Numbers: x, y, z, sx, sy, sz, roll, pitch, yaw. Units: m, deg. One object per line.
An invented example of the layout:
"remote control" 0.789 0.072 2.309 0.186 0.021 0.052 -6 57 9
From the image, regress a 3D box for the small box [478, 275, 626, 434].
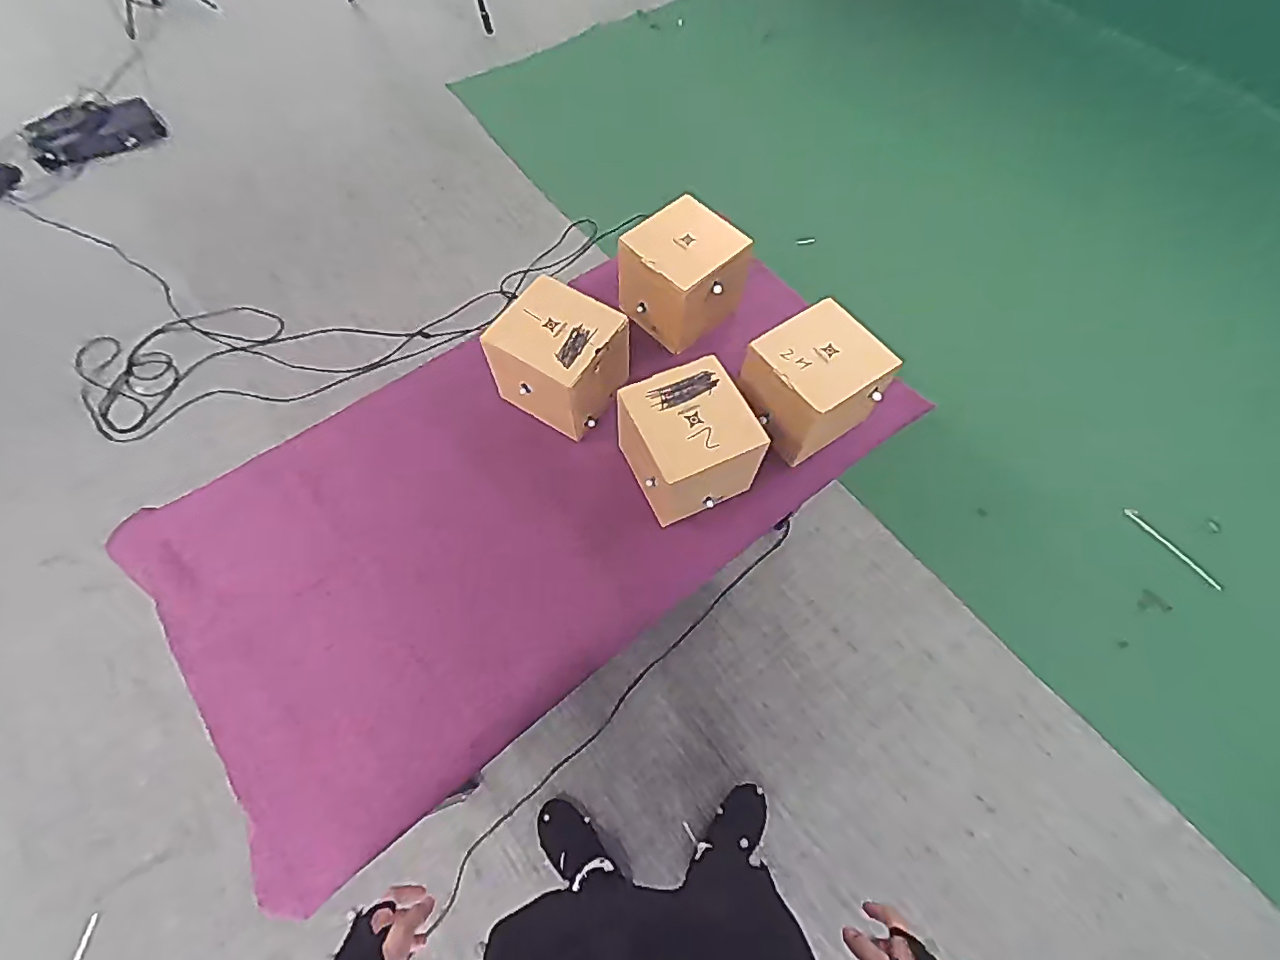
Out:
"small box" -0.137 -0.201 0.917 0.179 0.176 0.168 30 68 13

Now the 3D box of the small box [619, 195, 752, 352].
"small box" 0.076 -0.378 1.003 0.179 0.176 0.168 -41 72 -16

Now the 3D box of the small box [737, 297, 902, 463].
"small box" 0.284 -0.160 0.899 0.179 0.176 0.168 -32 67 -14
